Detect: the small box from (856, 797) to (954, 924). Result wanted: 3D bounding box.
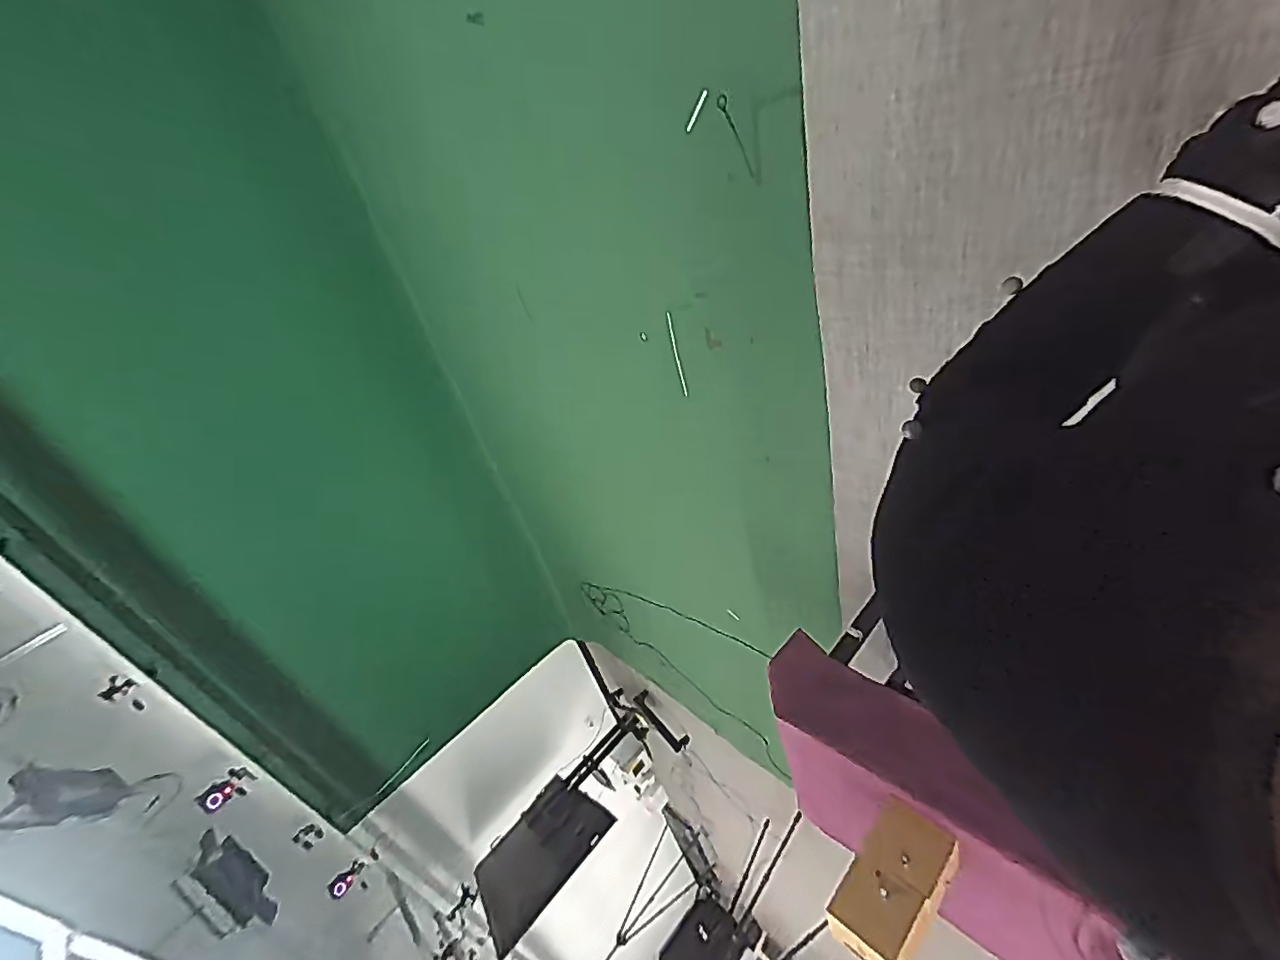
[{"bbox_3d":[0.675,0.957,1.374,0.179,0.176,0.168,20,137,45],"label":"small box"}]

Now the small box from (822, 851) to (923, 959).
[{"bbox_3d":[0.563,1.052,1.299,0.168,0.176,0.179,16,135,46],"label":"small box"}]
